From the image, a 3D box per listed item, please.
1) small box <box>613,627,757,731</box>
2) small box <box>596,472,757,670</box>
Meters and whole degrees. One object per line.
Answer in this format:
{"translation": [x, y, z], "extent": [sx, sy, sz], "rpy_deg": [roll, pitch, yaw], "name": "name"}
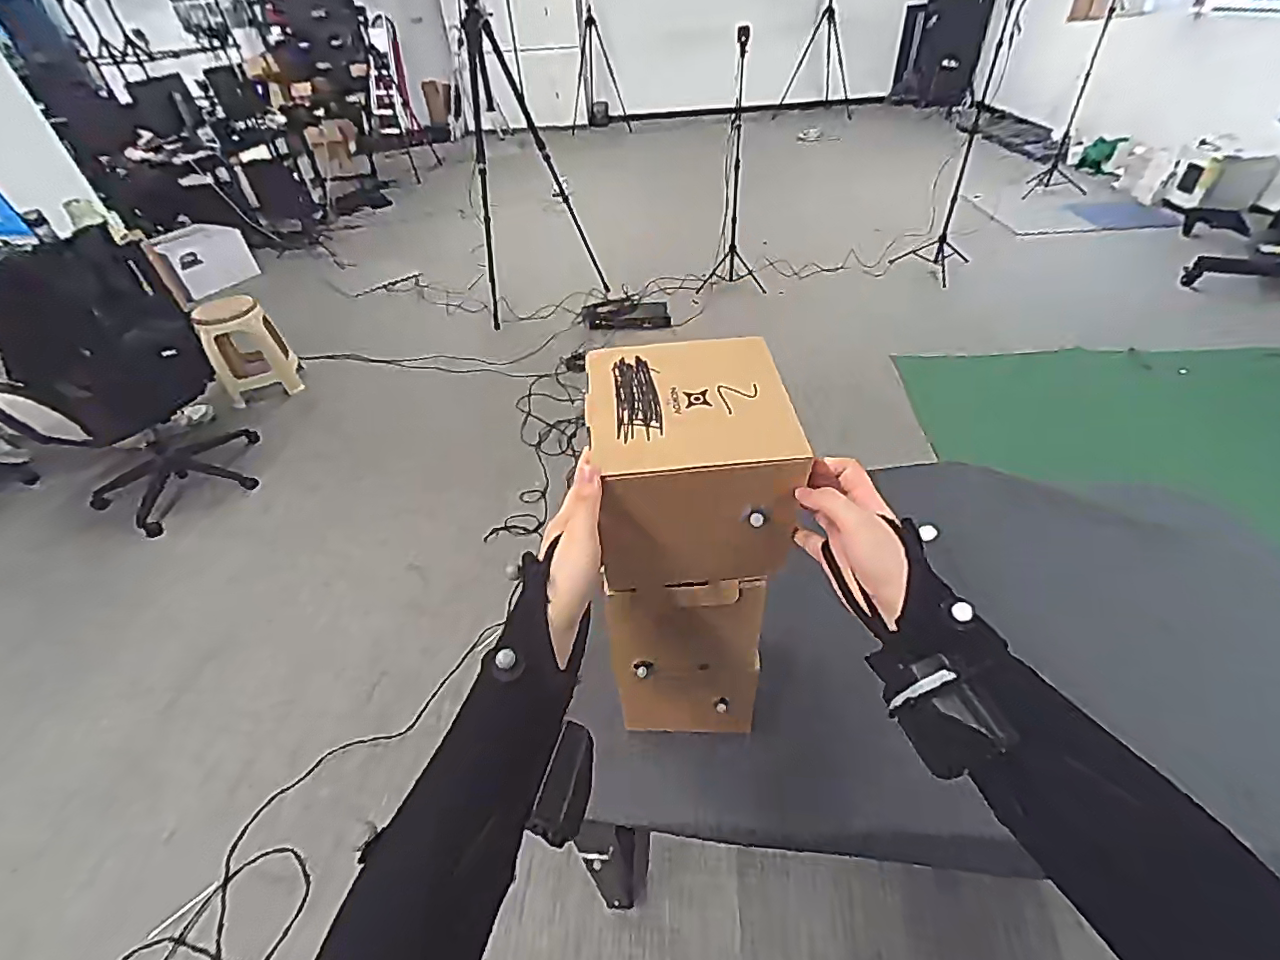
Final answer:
{"translation": [0.062, 0.234, 0.760], "extent": [0.179, 0.176, 0.168], "rpy_deg": [-2, 40, 5], "name": "small box"}
{"translation": [0.041, 0.113, 0.651], "extent": [0.168, 0.176, 0.179], "rpy_deg": [-4, 40, 1], "name": "small box"}
